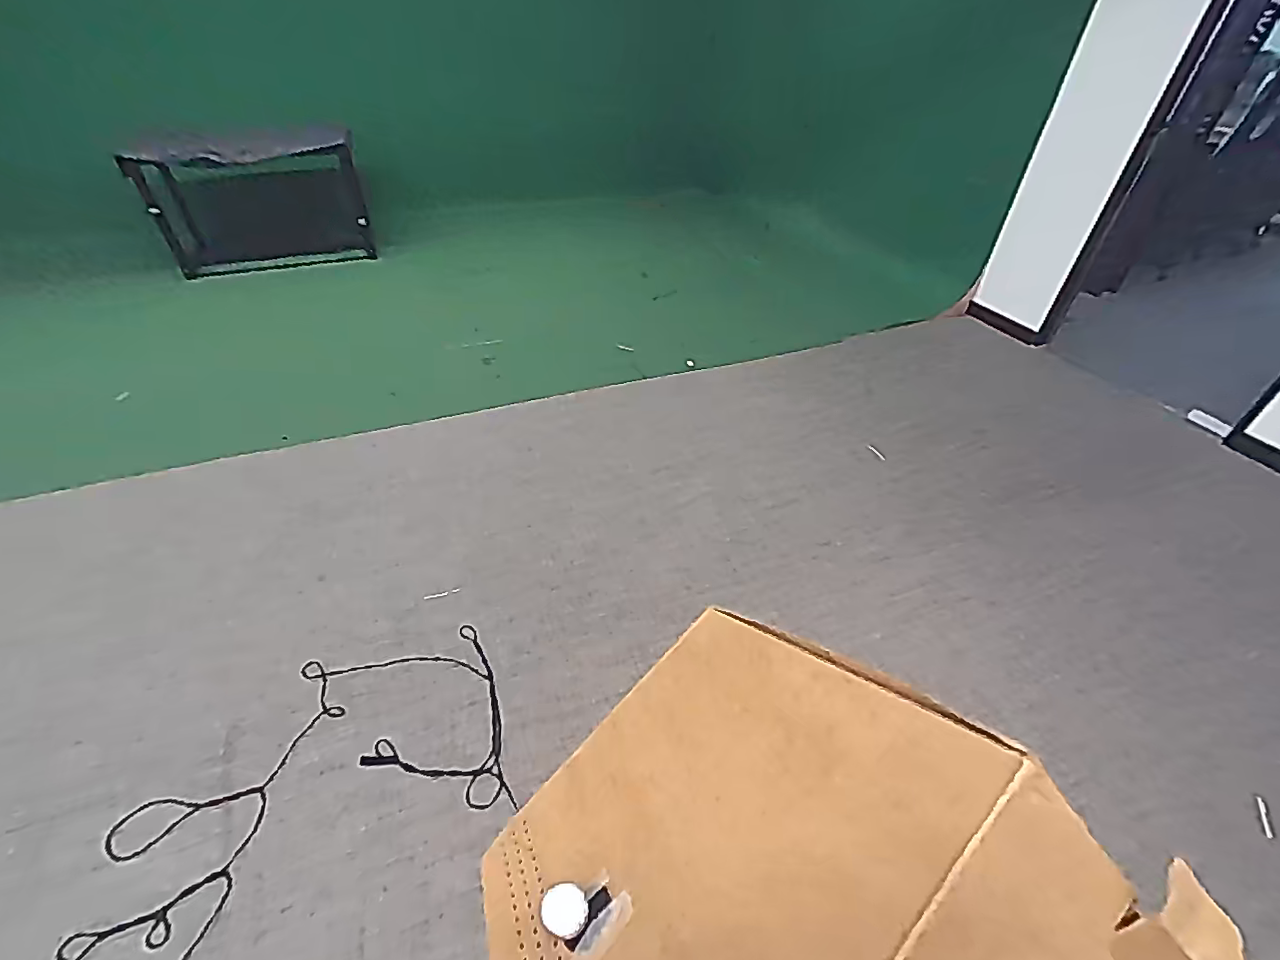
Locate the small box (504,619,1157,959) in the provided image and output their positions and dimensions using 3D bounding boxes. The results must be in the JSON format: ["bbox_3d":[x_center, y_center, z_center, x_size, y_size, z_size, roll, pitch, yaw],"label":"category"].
[{"bbox_3d":[0.065,0.192,0.224,0.176,0.168,0.179,-43,14,-15],"label":"small box"}]
